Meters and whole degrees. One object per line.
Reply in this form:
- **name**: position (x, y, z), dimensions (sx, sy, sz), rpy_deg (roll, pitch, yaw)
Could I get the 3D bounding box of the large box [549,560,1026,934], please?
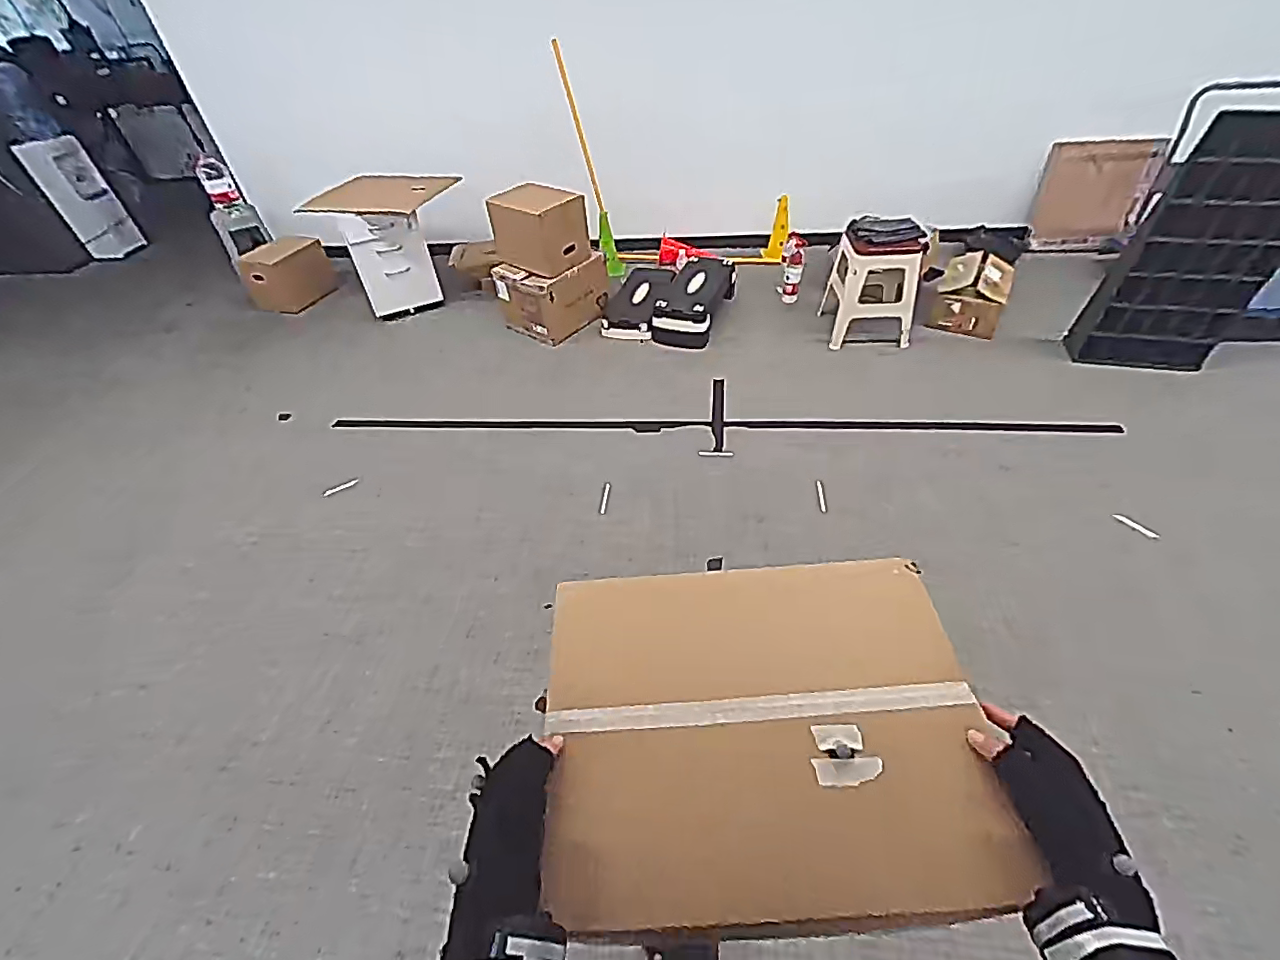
- **large box**: position (0.121, 0.324, 0.650), dimensions (0.408, 0.320, 0.320), rpy_deg (-4, 48, 1)
